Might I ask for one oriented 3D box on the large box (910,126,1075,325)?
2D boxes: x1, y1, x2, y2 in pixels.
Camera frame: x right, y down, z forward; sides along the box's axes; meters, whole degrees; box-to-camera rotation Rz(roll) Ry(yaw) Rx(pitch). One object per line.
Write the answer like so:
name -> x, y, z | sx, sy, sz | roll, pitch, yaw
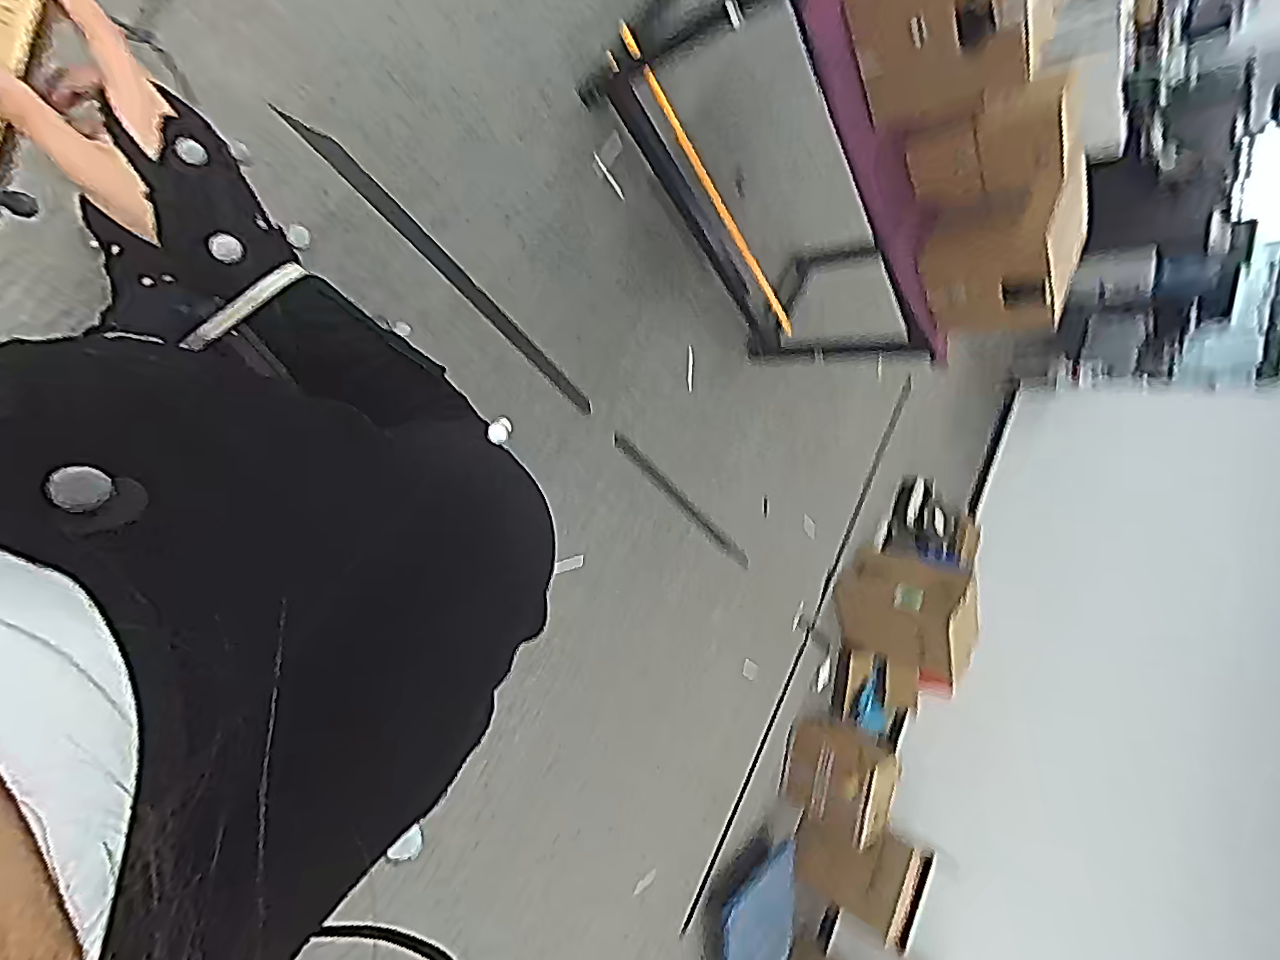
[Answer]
large box -> 1.043, -0.721, 1.595 | 0.320, 0.320, 0.408 | 42, 68, -42
